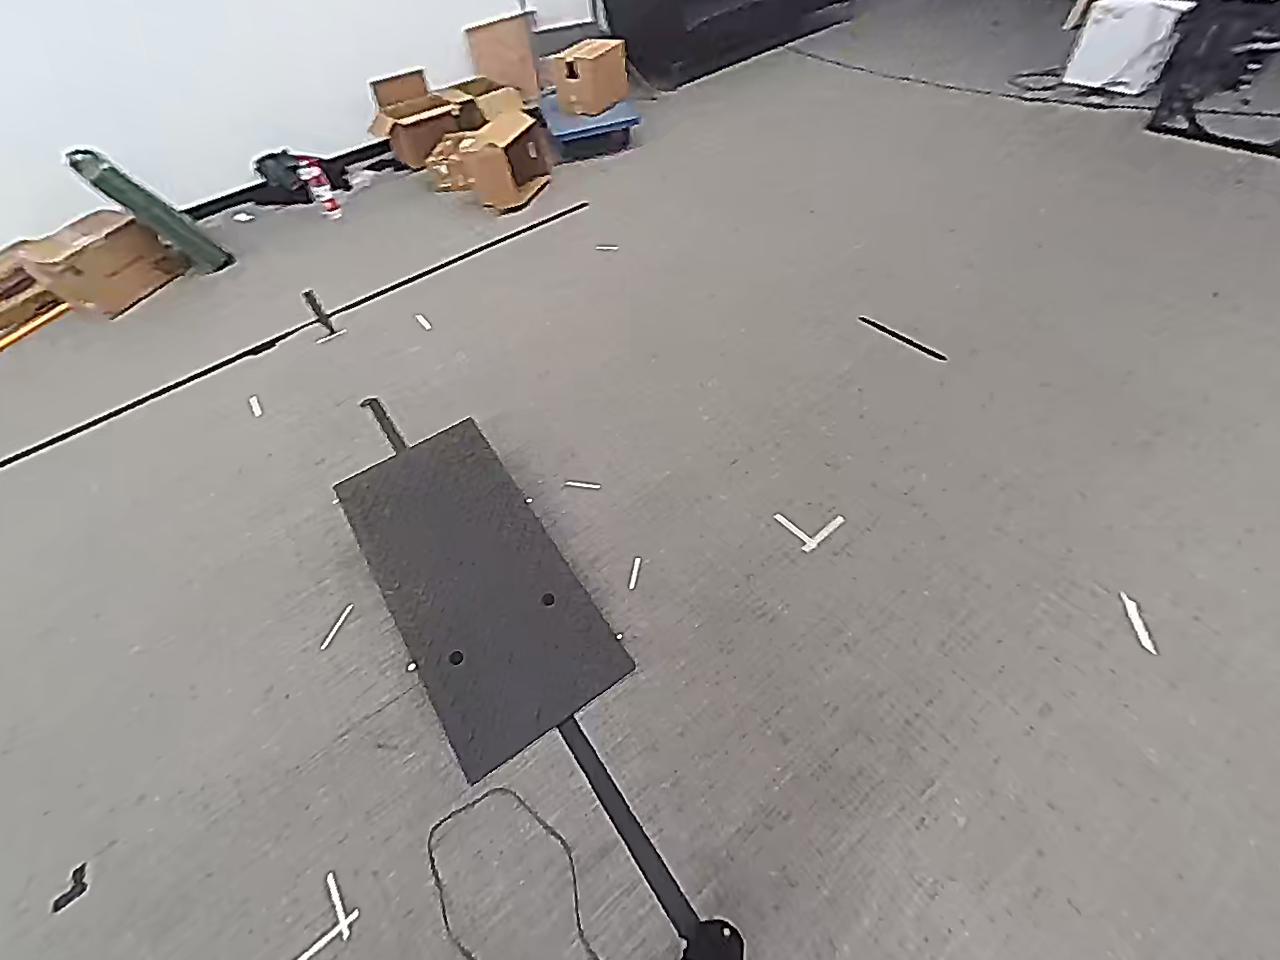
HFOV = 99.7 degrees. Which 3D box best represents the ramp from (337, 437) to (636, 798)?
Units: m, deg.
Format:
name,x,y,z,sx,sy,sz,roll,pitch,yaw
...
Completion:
name,x,y,z,sx,sy,sz,roll,pitch,yaw
ramp,-0.485,0.314,1.595,0.509,0.206,0.991,-32,53,-19
